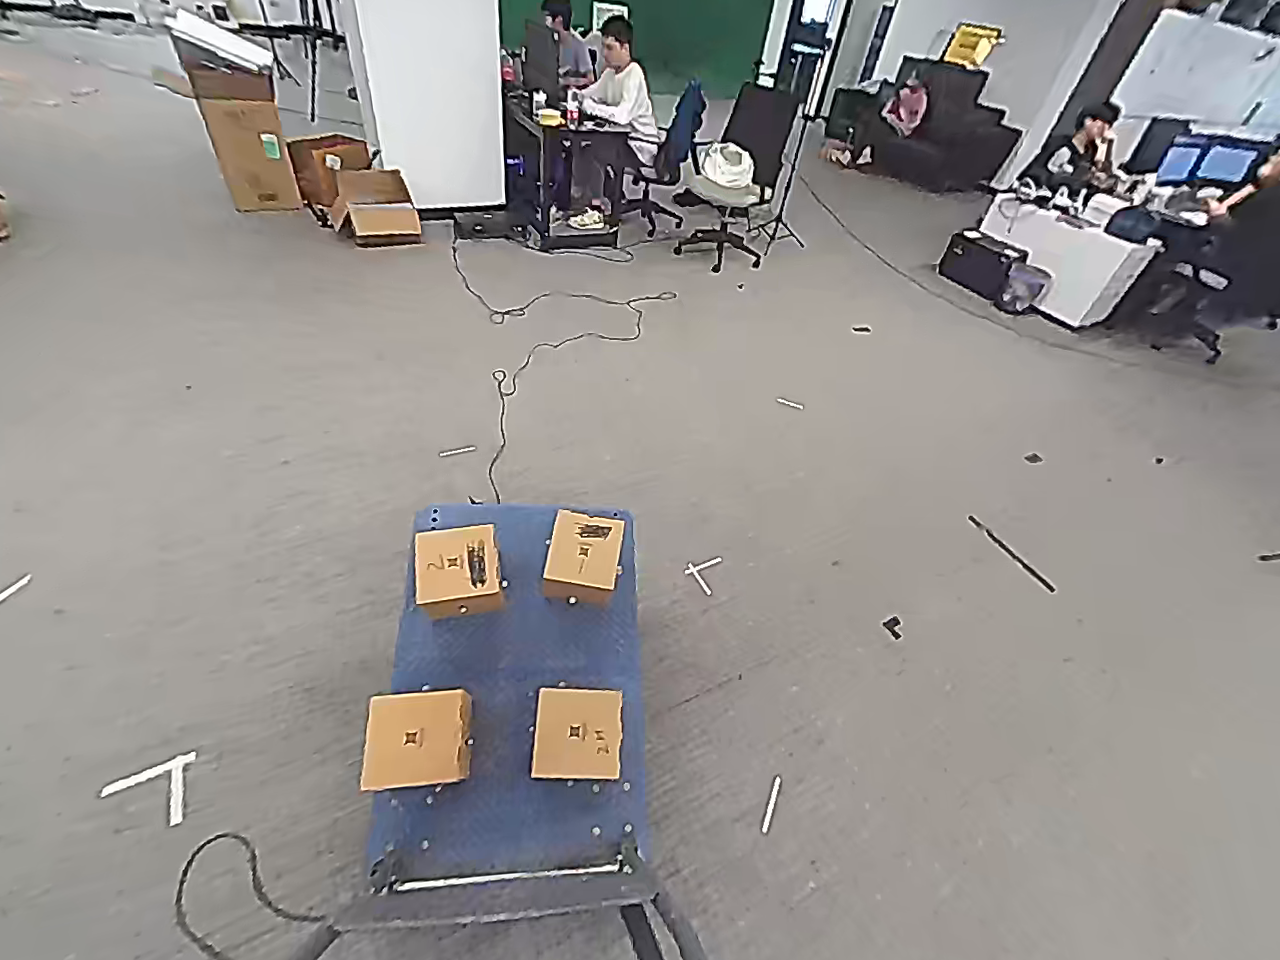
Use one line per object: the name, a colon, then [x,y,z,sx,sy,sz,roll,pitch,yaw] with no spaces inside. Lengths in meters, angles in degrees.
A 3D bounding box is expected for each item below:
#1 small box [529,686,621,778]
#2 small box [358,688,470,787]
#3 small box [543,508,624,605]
small box: [-0.139,0.543,1.162,0.179,0.176,0.168,6,63,-8]
small box: [-0.453,0.530,1.111,0.179,0.176,0.168,0,63,-12]
small box: [-0.144,0.194,1.340,0.168,0.176,0.179,11,63,-5]
